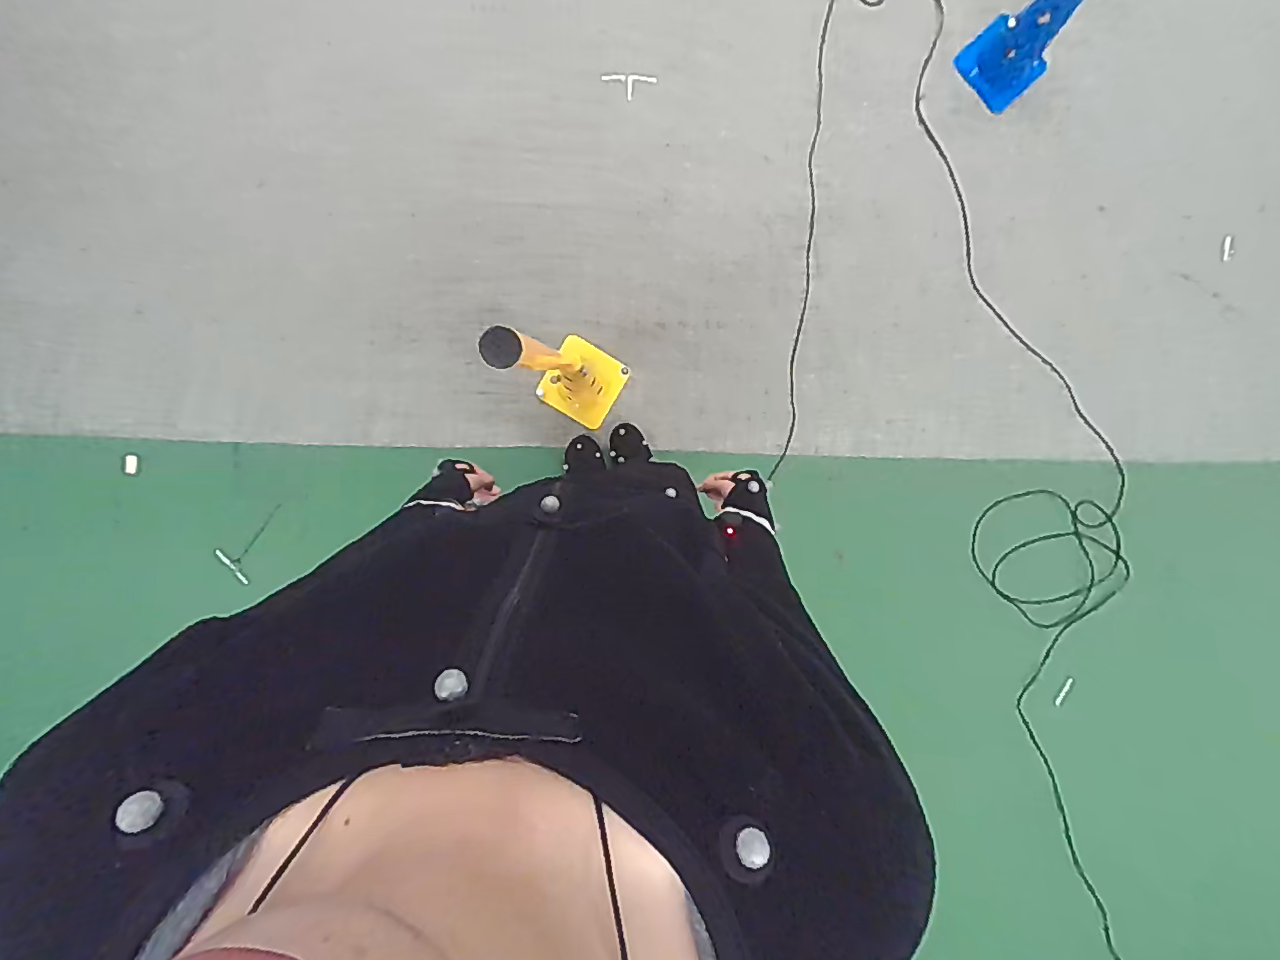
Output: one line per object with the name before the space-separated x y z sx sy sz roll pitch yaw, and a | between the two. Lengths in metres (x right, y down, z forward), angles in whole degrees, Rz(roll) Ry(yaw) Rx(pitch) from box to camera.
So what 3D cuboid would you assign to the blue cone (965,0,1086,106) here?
blue cone | 0.997 -1.133 1.296 0.193 0.380 0.192 -44 93 -2
